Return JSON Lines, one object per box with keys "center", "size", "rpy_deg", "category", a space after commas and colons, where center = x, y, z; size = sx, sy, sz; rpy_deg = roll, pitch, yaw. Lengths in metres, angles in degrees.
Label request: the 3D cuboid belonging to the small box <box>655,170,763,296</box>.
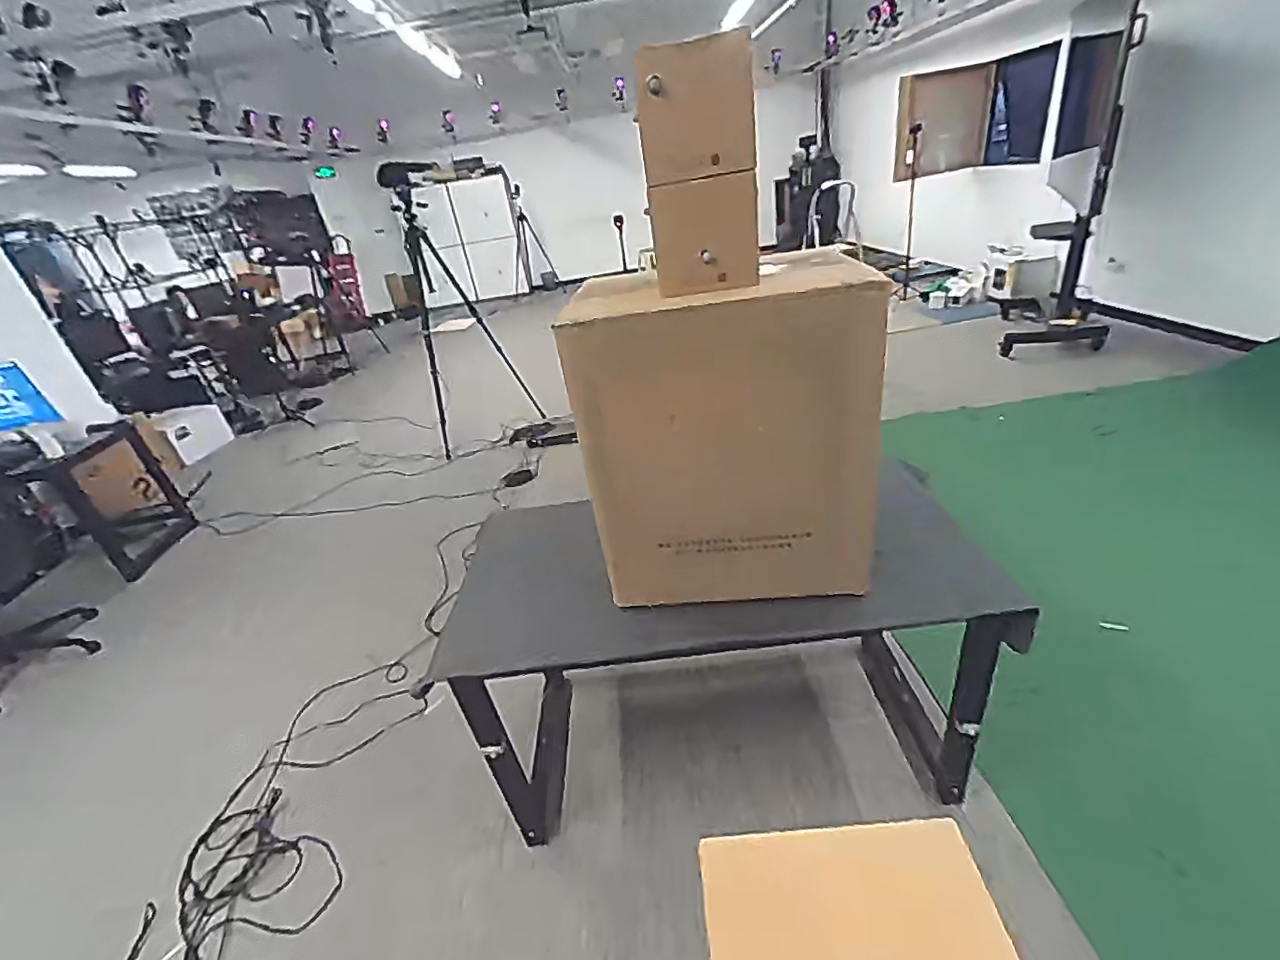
{"center": [0.119, -0.424, 0.930], "size": [0.168, 0.176, 0.179], "rpy_deg": [-5, 32, 7], "category": "small box"}
